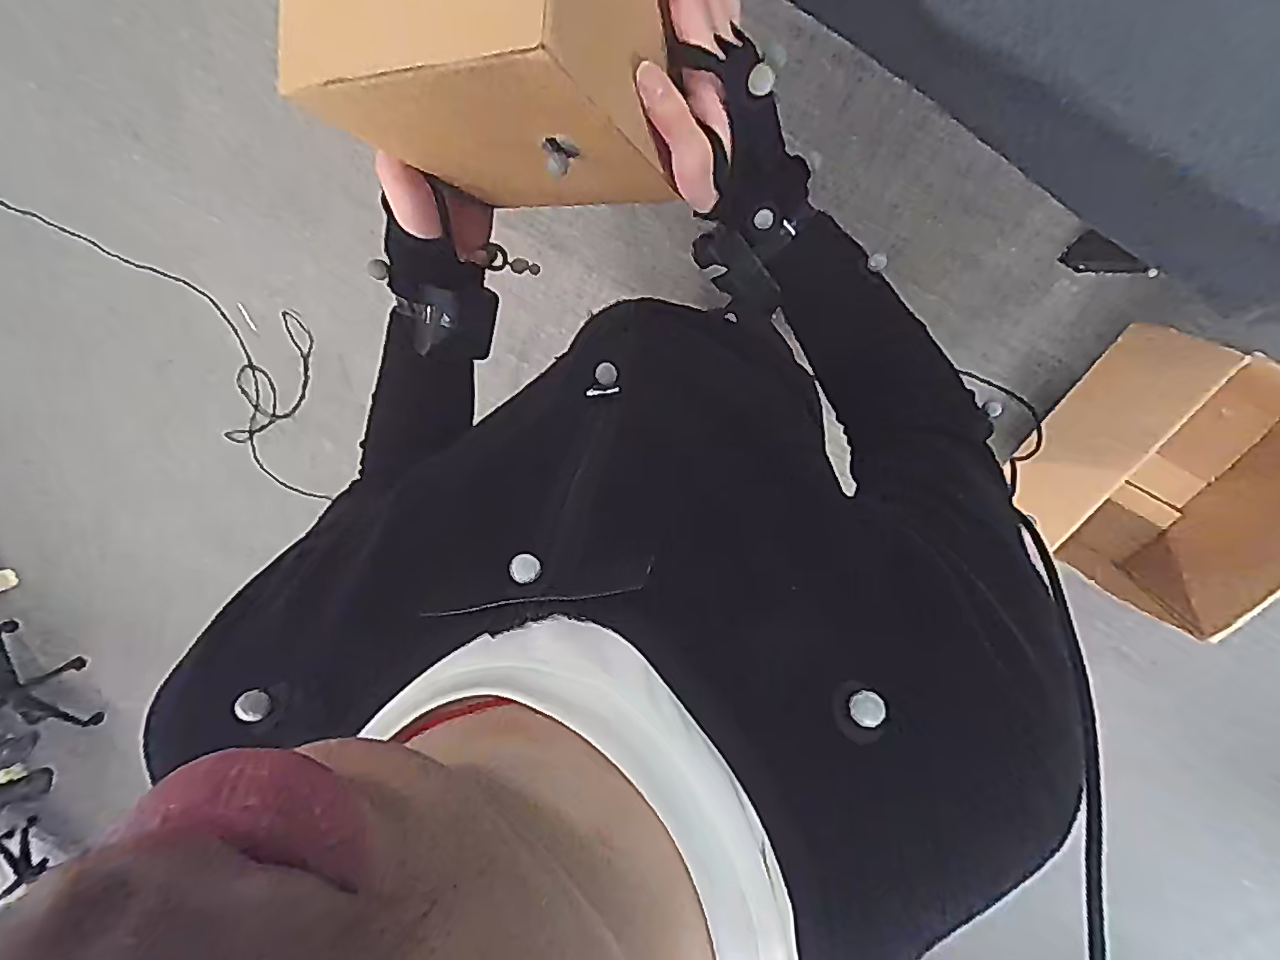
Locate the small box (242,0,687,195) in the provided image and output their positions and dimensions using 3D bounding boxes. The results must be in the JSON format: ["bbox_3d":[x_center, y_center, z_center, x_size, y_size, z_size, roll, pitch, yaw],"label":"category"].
[{"bbox_3d":[-0.079,-0.278,0.299,0.179,0.176,0.168,10,98,24],"label":"small box"}]
